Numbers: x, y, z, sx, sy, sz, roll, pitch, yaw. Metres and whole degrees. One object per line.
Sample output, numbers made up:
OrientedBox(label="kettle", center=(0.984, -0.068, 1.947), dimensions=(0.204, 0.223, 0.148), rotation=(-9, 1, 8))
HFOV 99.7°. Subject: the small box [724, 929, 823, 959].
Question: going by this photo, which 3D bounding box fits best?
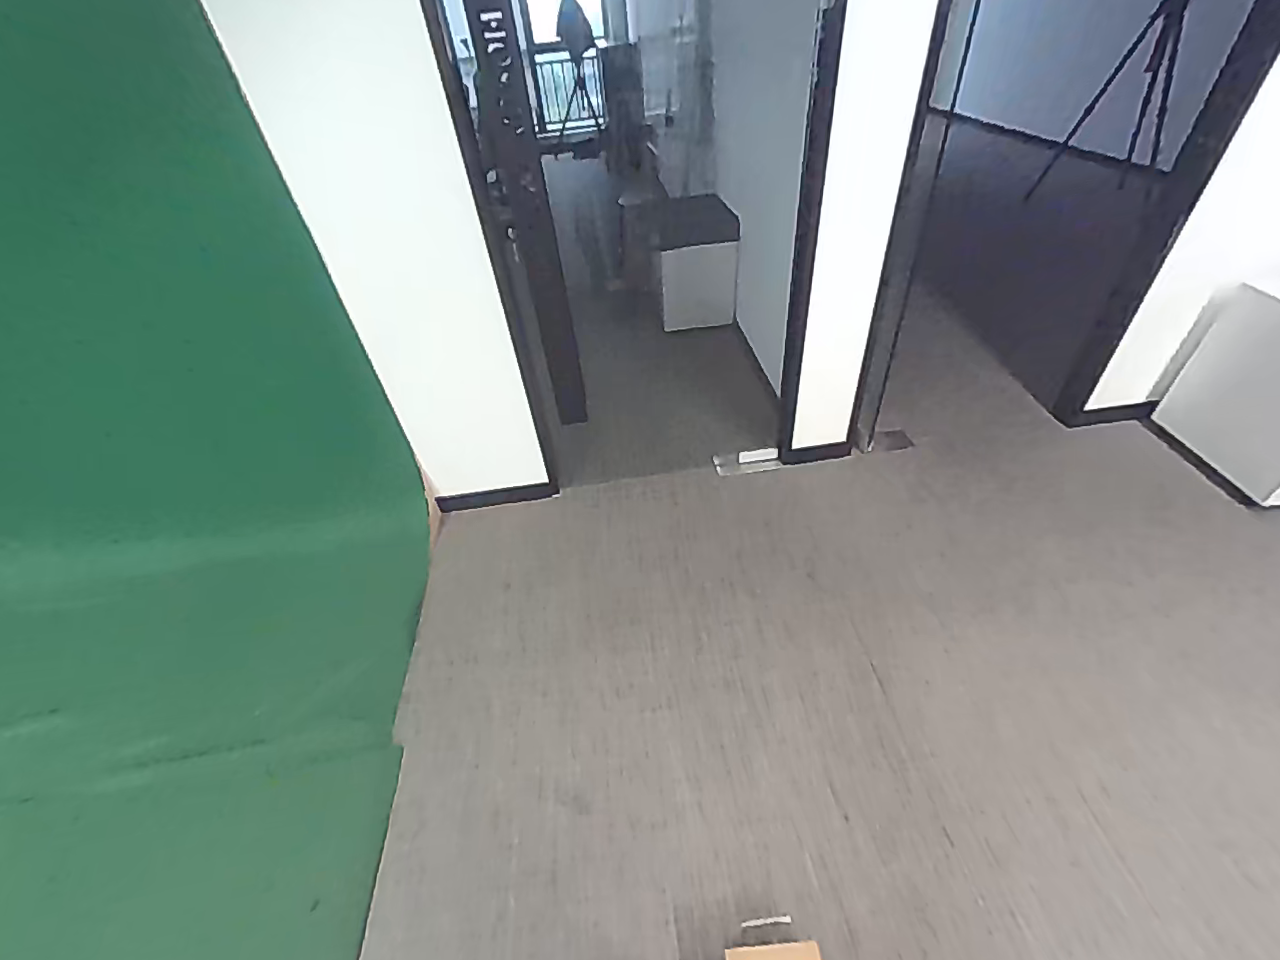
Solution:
OrientedBox(label="small box", center=(0.254, 0.960, 1.007), dimensions=(0.179, 0.176, 0.168), rotation=(-7, 42, 2))
